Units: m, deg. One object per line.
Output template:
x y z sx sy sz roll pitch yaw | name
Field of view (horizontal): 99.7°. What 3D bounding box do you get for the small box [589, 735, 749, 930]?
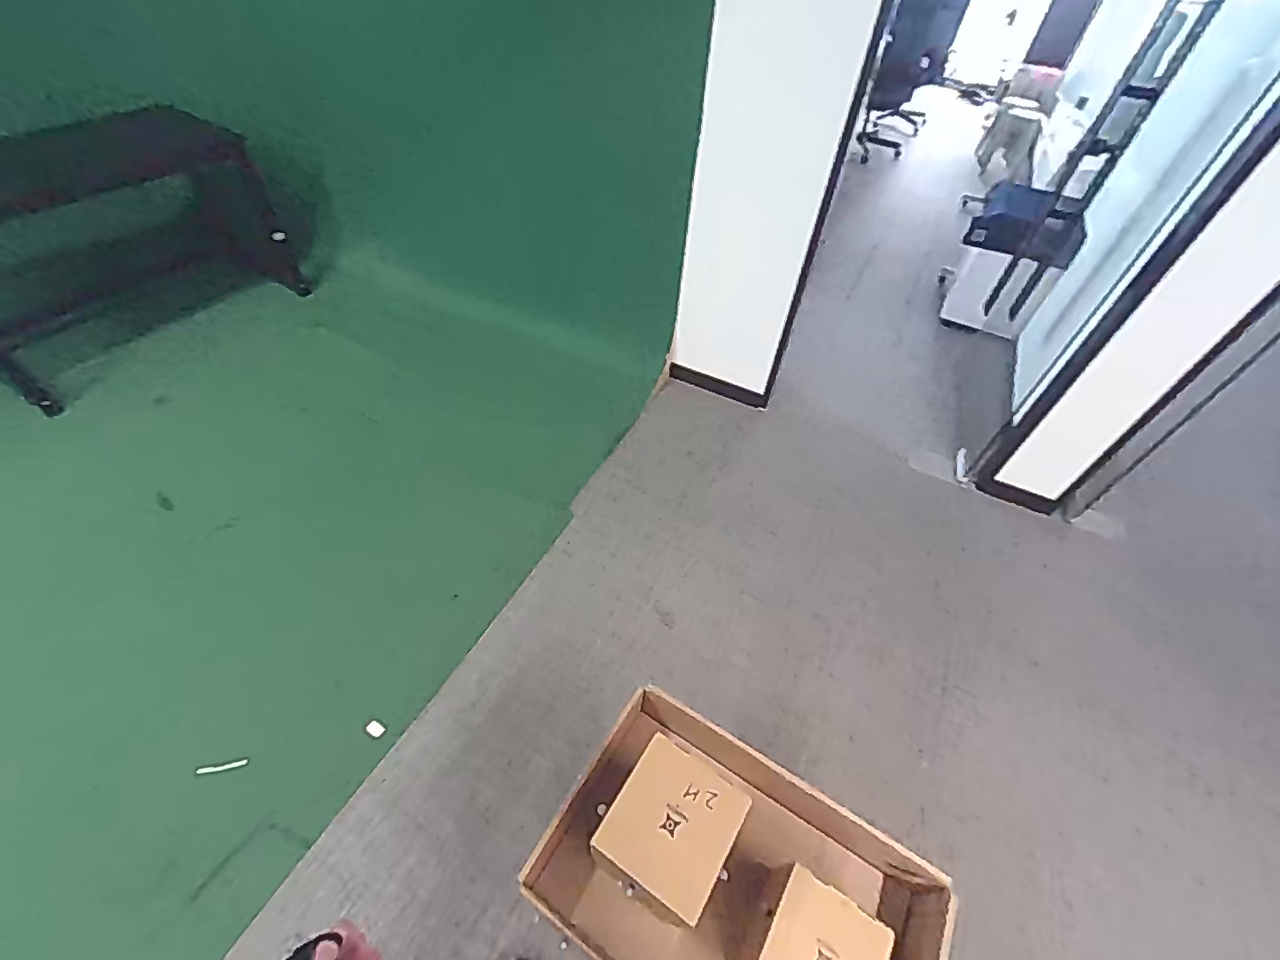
0.041 0.530 0.813 0.168 0.176 0.179 29 53 19 | small box
